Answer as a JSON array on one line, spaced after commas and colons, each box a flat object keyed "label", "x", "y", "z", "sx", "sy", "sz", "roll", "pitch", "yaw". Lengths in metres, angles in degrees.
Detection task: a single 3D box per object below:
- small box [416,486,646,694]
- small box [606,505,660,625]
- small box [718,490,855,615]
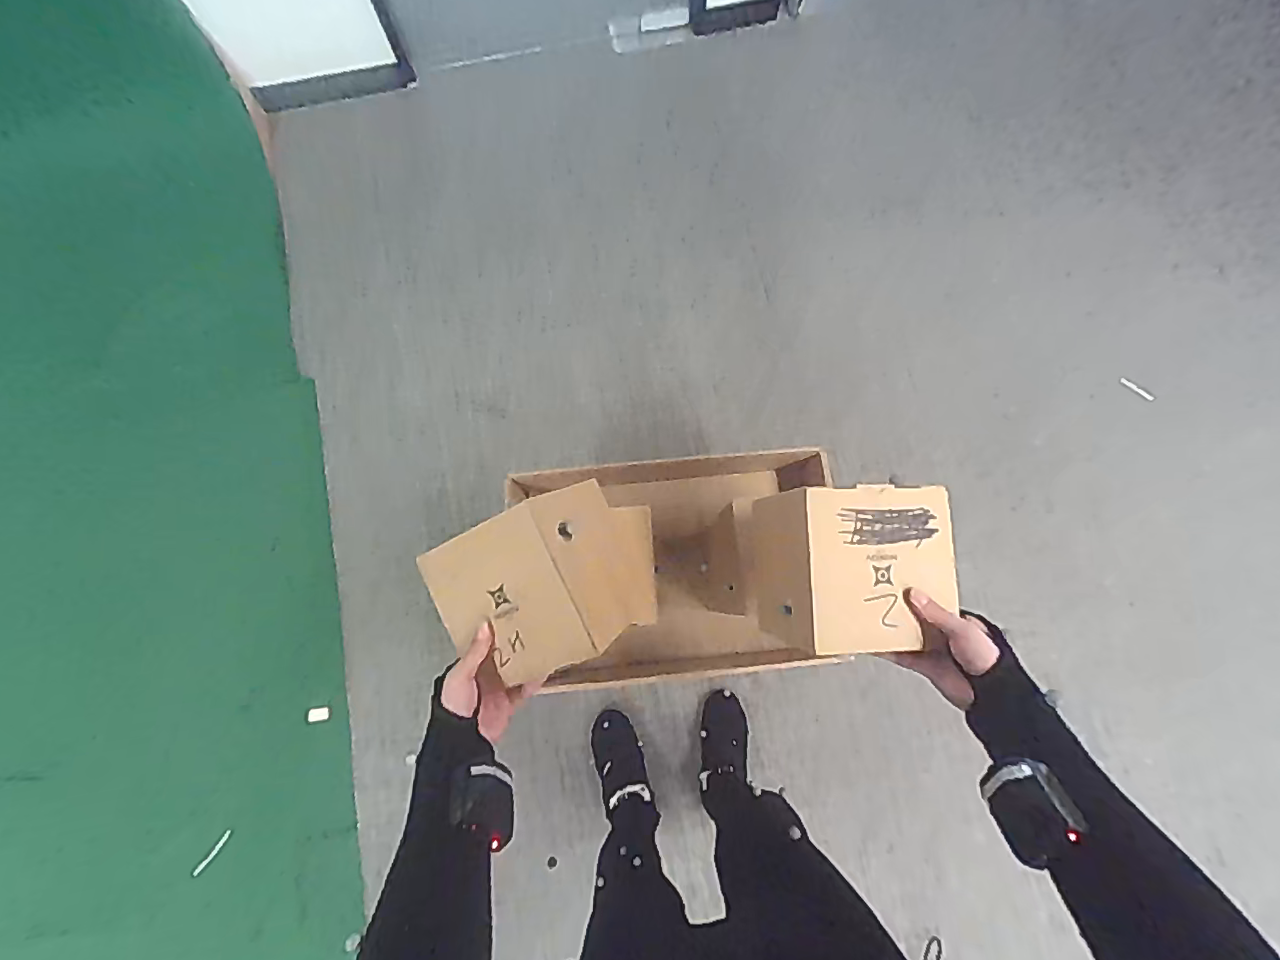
[{"label": "small box", "x": -0.120, "y": 0.117, "z": 0.645, "sx": 0.168, "sy": 0.176, "sz": 0.179, "roll": -27, "pitch": 88, "yaw": 23}, {"label": "small box", "x": -0.059, "y": 0.144, "z": 0.875, "sx": 0.168, "sy": 0.176, "sz": 0.179, "roll": -4, "pitch": 78, "yaw": -1}, {"label": "small box", "x": 0.225, "y": 0.122, "z": 0.876, "sx": 0.168, "sy": 0.176, "sz": 0.179, "roll": -4, "pitch": 76, "yaw": -2}]
